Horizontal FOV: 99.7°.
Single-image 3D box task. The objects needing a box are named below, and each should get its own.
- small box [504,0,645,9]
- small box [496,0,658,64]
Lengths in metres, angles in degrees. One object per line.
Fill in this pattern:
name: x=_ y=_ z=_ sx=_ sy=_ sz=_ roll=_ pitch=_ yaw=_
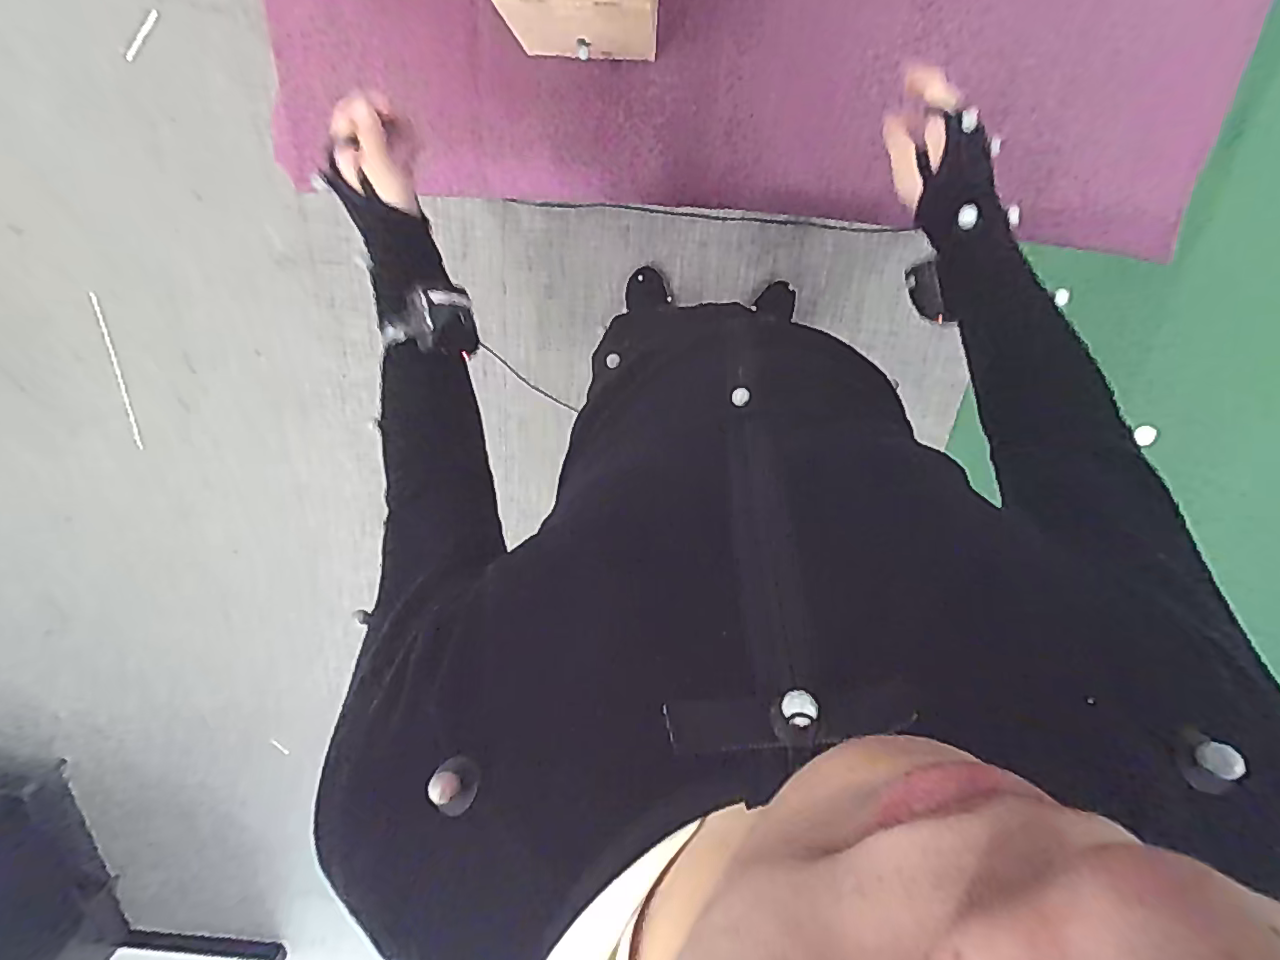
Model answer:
small box: x=-0.069 y=-0.524 z=0.430 sx=0.168 sy=0.176 sz=0.179 roll=4 pitch=112 yaw=2
small box: x=-0.062 y=-0.585 z=0.582 sx=0.168 sy=0.176 sz=0.179 roll=4 pitch=113 yaw=2
